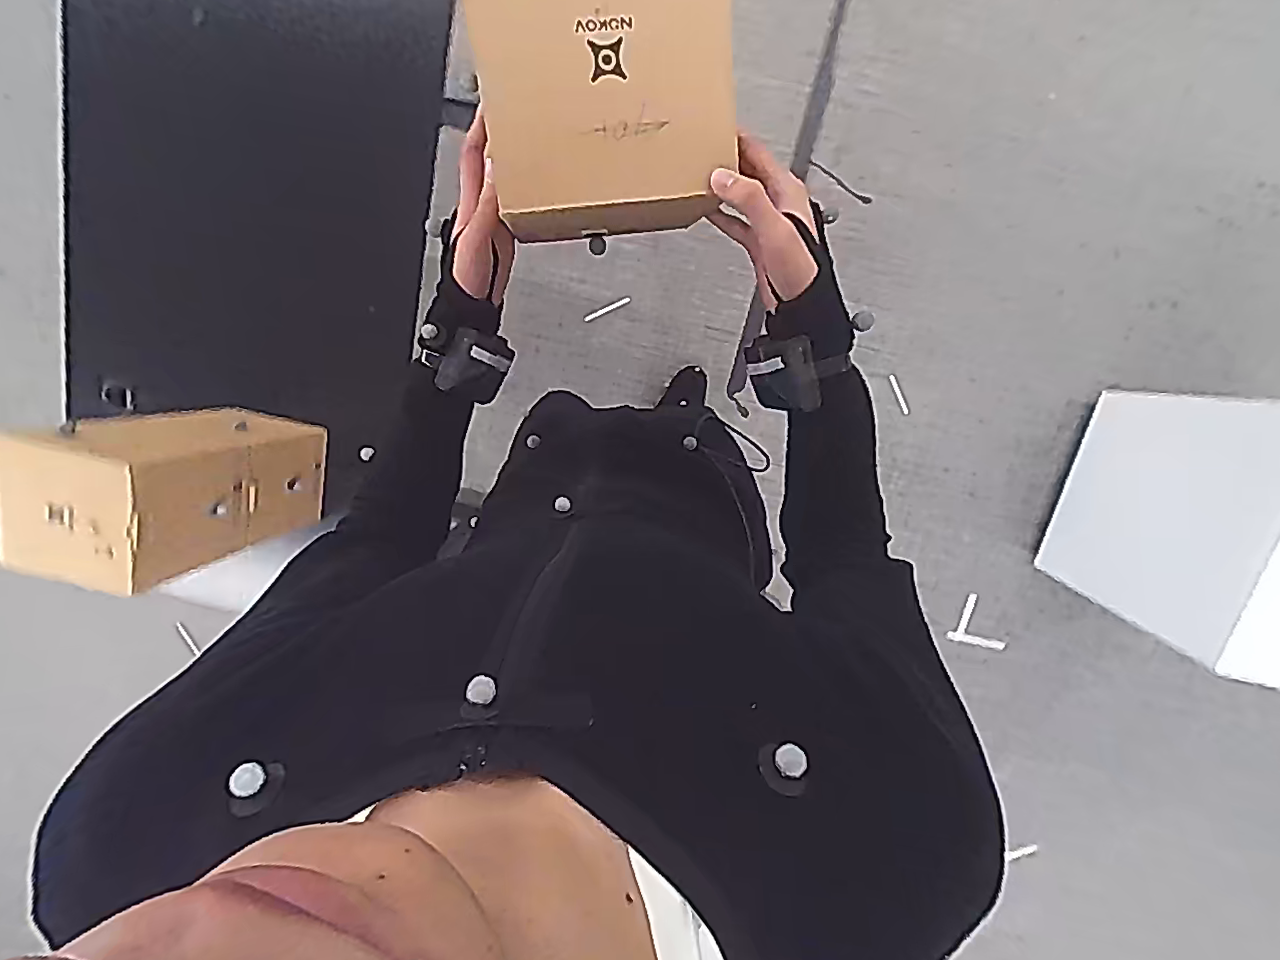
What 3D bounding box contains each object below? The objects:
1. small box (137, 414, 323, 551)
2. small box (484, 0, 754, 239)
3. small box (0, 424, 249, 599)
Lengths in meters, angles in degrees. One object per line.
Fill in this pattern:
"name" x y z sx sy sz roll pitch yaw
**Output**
"small box" -0.637 -0.006 0.855 0.179 0.176 0.168 12 102 2
"small box" -0.020 -0.290 0.405 0.168 0.176 0.179 -7 108 -5
"small box" -0.653 0.028 0.695 0.179 0.176 0.168 12 103 2
